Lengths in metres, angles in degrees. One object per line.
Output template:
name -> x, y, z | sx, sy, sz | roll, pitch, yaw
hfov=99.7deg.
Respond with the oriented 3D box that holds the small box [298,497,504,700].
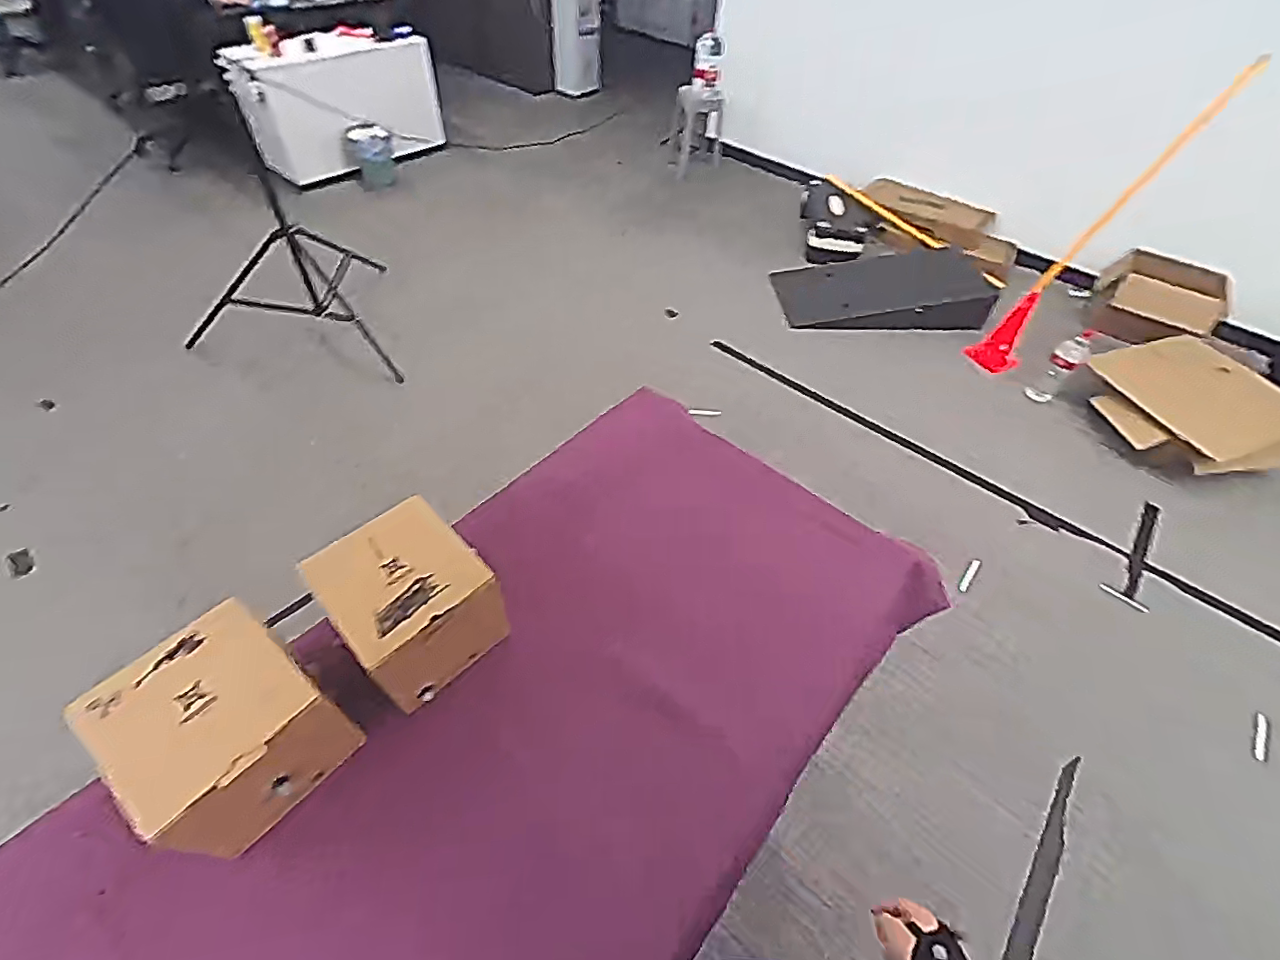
small box -> -0.300, 0.163, 0.714 | 0.179, 0.176, 0.168 | 39, 57, 24
